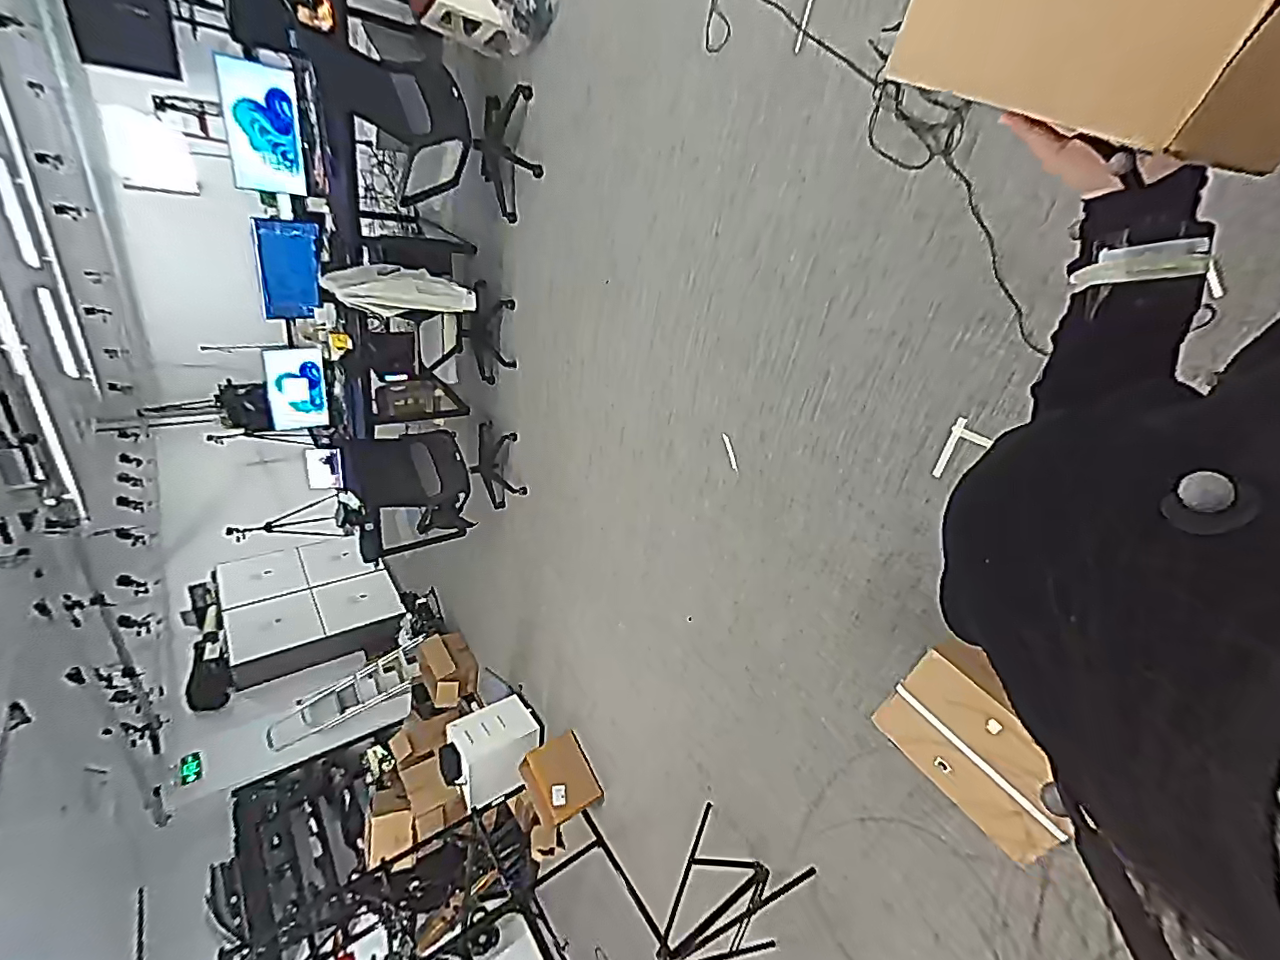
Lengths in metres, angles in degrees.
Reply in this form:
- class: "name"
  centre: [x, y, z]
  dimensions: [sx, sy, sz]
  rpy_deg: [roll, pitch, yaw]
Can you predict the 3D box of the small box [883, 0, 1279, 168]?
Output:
- class: "small box"
  centre: [0.283, -0.281, 0.288]
  dimensions: [0.179, 0.176, 0.168]
  rpy_deg: [52, 142, 37]
